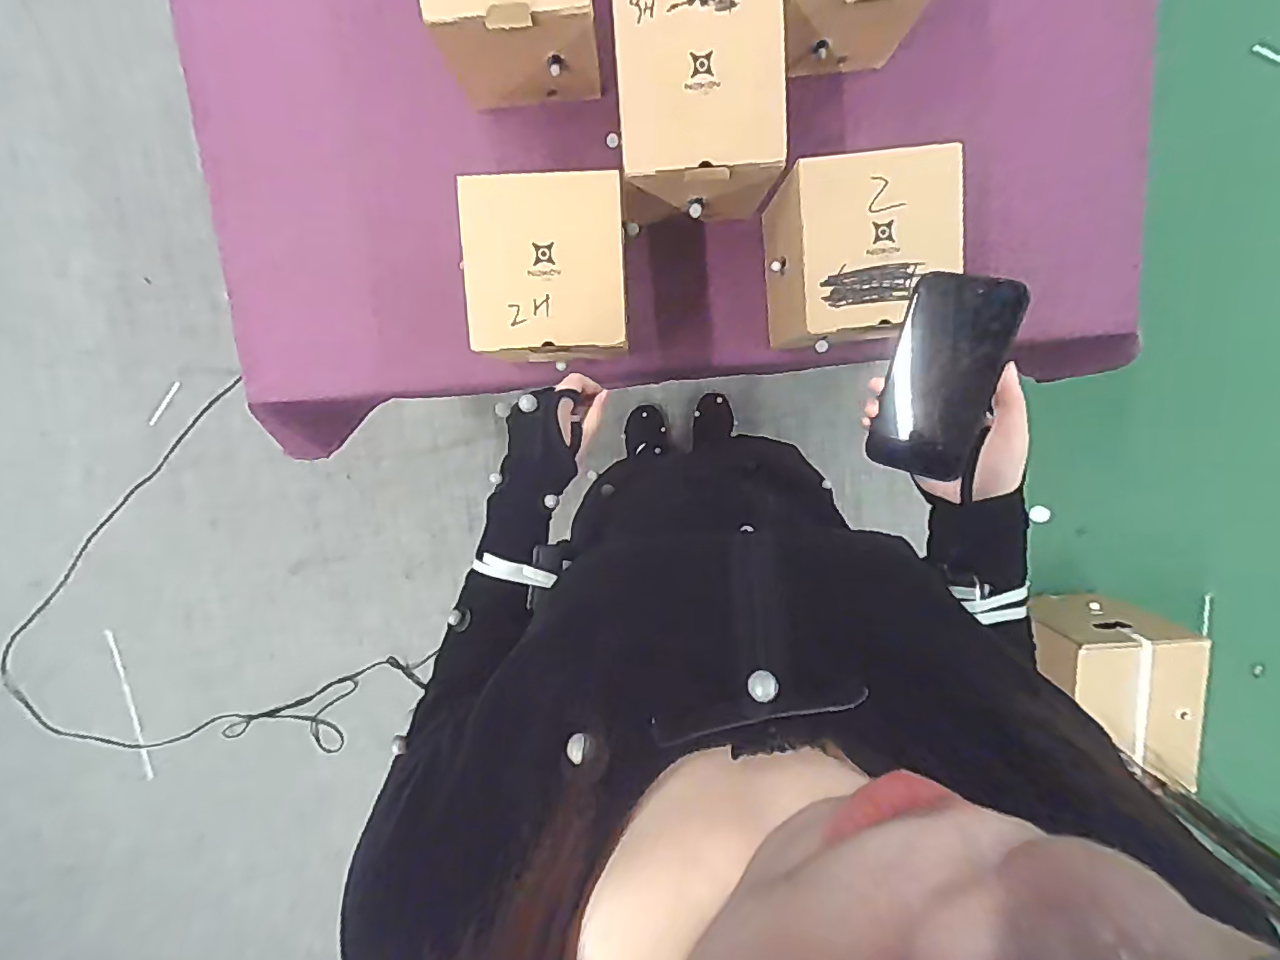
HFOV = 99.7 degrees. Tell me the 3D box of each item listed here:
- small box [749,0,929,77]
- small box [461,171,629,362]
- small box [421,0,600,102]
[{"bbox_3d":[0.213,-0.582,0.581,0.168,0.176,0.179,-6,100,1],"label":"small box"},{"bbox_3d":[-0.099,-0.235,0.635,0.168,0.176,0.179,-1,99,1],"label":"small box"},{"bbox_3d":[-0.135,-0.542,0.588,0.168,0.176,0.179,-5,99,0],"label":"small box"}]
